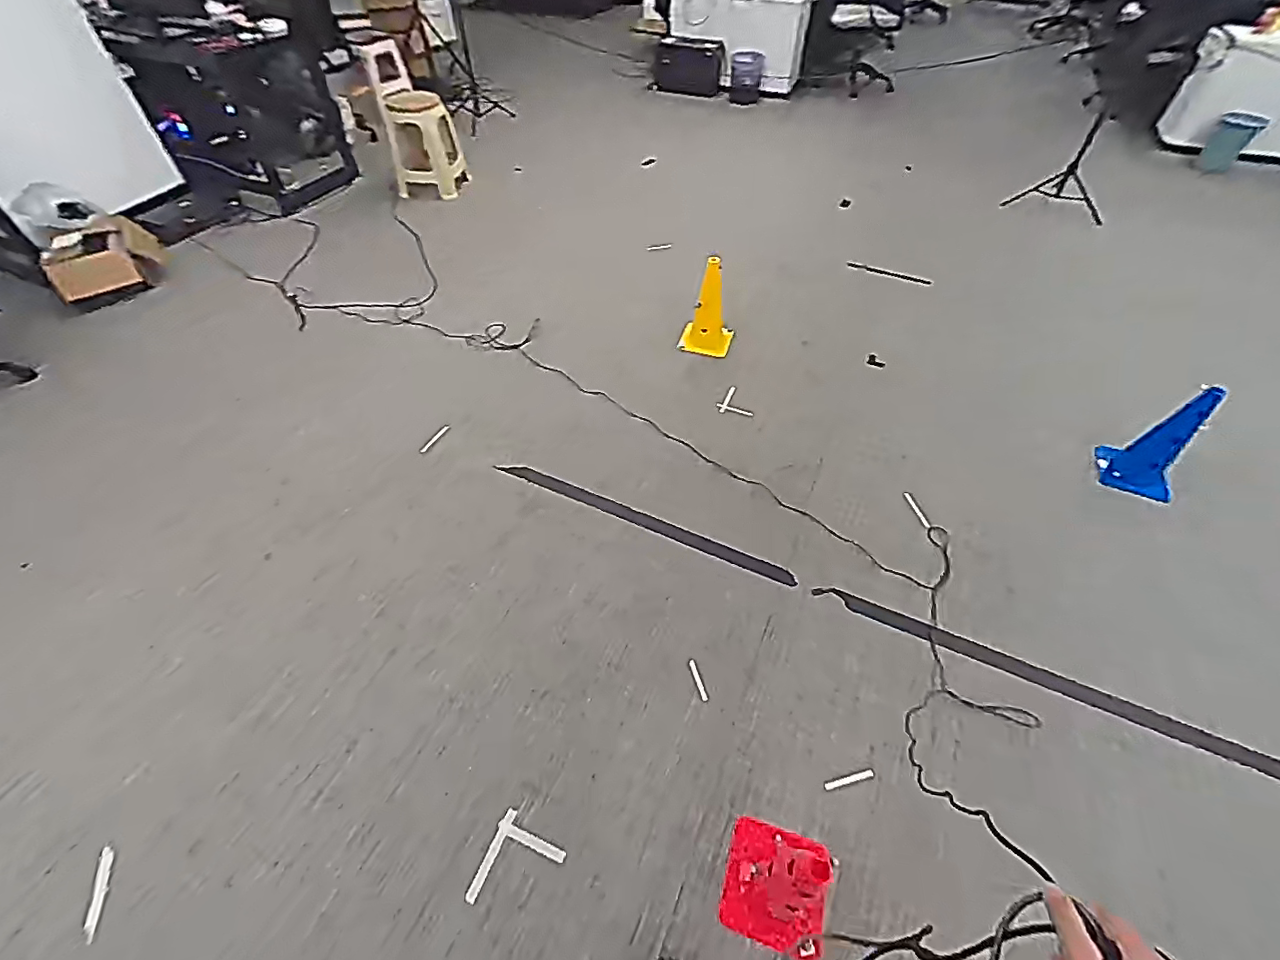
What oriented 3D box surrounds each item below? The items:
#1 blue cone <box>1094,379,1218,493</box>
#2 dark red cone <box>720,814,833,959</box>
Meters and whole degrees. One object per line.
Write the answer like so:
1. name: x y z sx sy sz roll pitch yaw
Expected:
1. blue cone: 1.631 -0.149 1.679 0.193 0.380 0.192 20 52 17
2. dark red cone: 0.268 0.684 0.939 0.202 0.394 0.201 13 50 11
